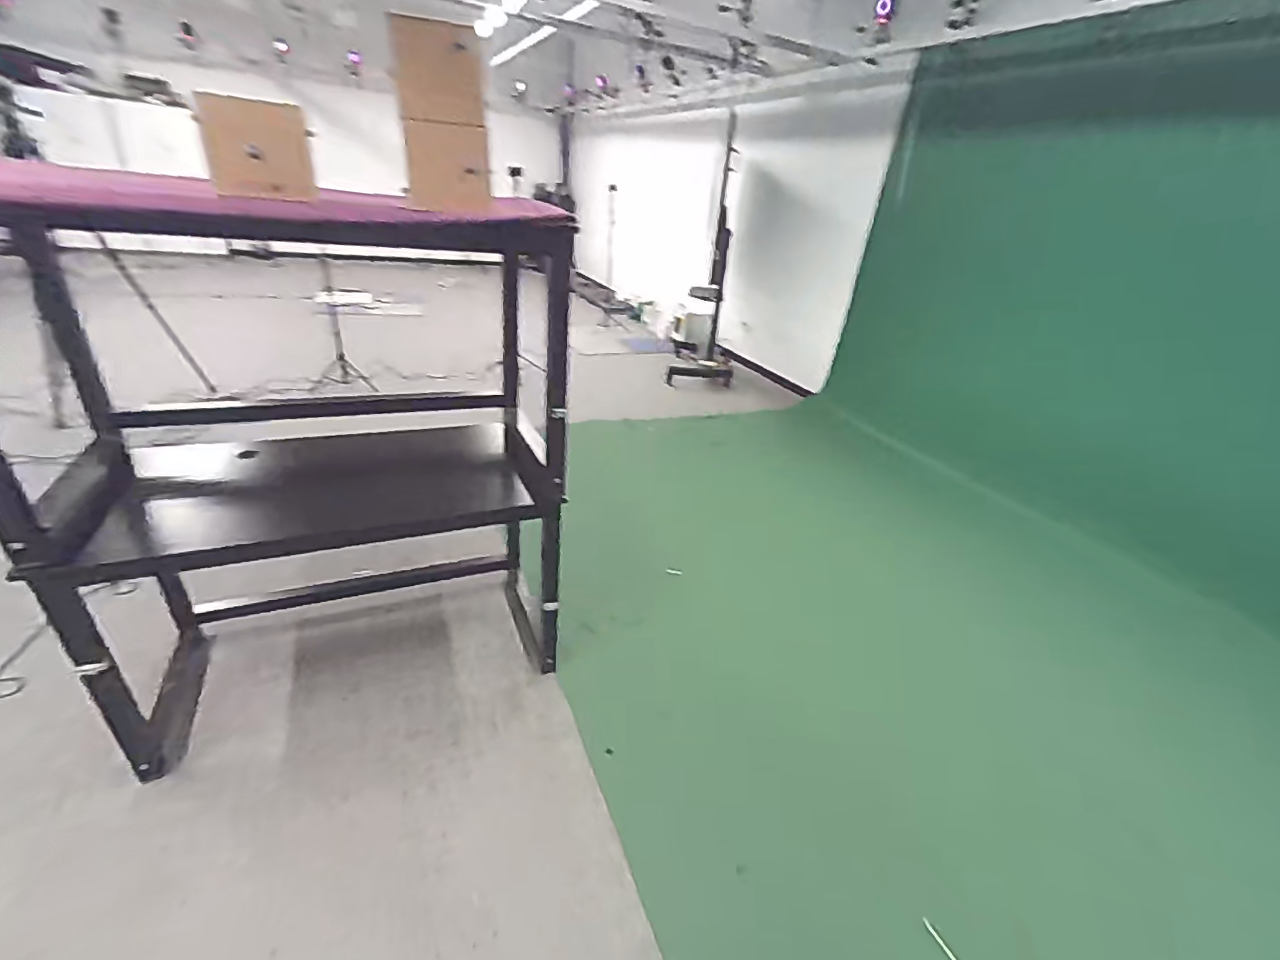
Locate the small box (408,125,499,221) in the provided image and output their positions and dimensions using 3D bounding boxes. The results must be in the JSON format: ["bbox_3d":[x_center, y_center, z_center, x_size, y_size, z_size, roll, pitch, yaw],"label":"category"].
[{"bbox_3d":[-0.412,-0.674,1.203,0.179,0.176,0.168,-6,27,-19],"label":"small box"}]

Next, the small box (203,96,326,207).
[{"bbox_3d":[-0.744,-0.655,1.093,0.168,0.176,0.179,-6,29,-24],"label":"small box"}]

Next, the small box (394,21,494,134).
[{"bbox_3d":[-0.405,-0.822,1.137,0.179,0.176,0.168,-4,27,-16],"label":"small box"}]
